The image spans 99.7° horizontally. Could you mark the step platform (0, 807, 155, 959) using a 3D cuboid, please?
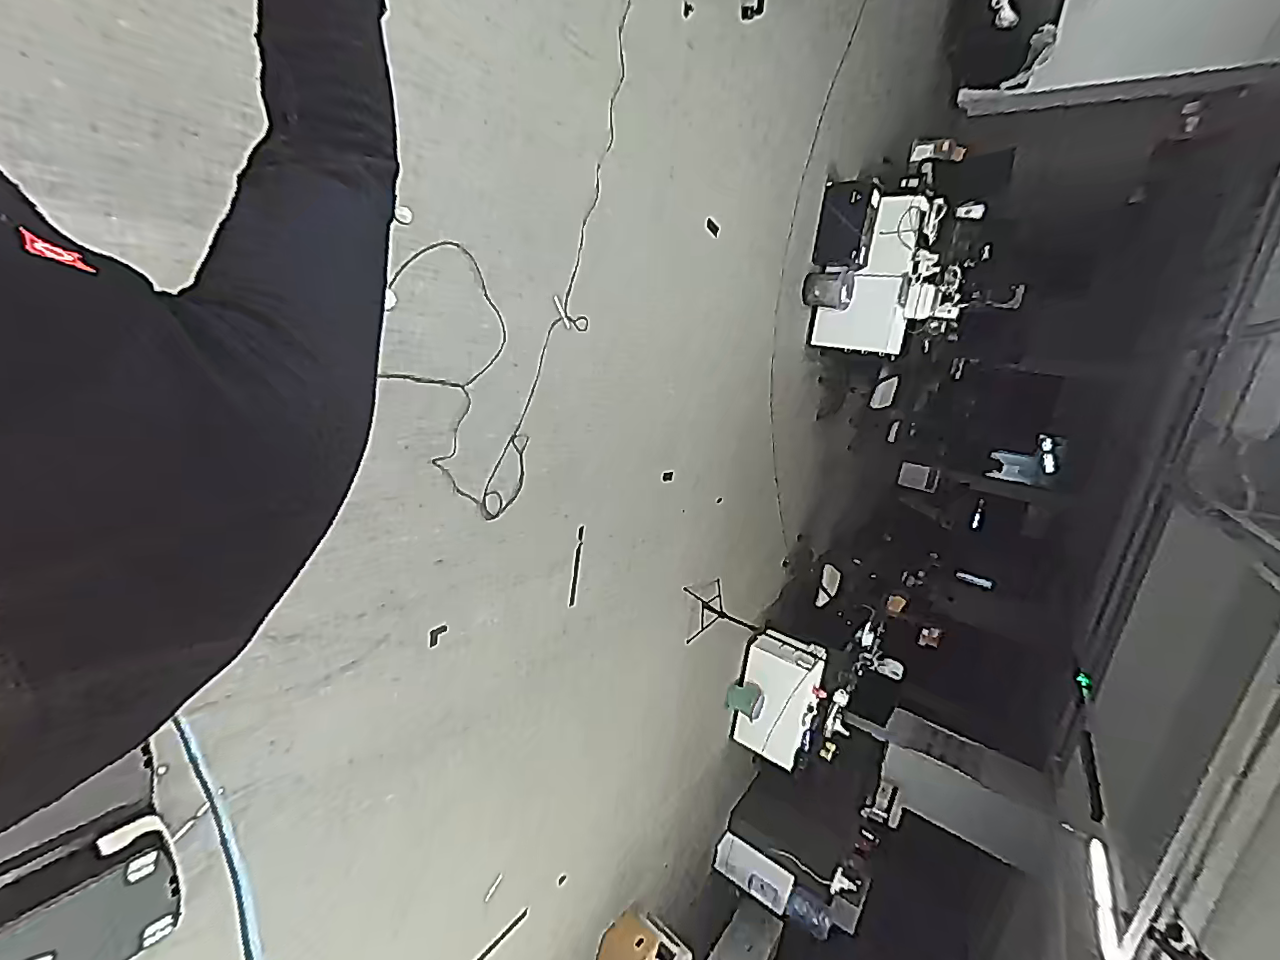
[{"bbox_3d":[-1.370,0.969,1.016,0.684,0.204,0.286,-16,117,-51],"label":"step platform"}]
